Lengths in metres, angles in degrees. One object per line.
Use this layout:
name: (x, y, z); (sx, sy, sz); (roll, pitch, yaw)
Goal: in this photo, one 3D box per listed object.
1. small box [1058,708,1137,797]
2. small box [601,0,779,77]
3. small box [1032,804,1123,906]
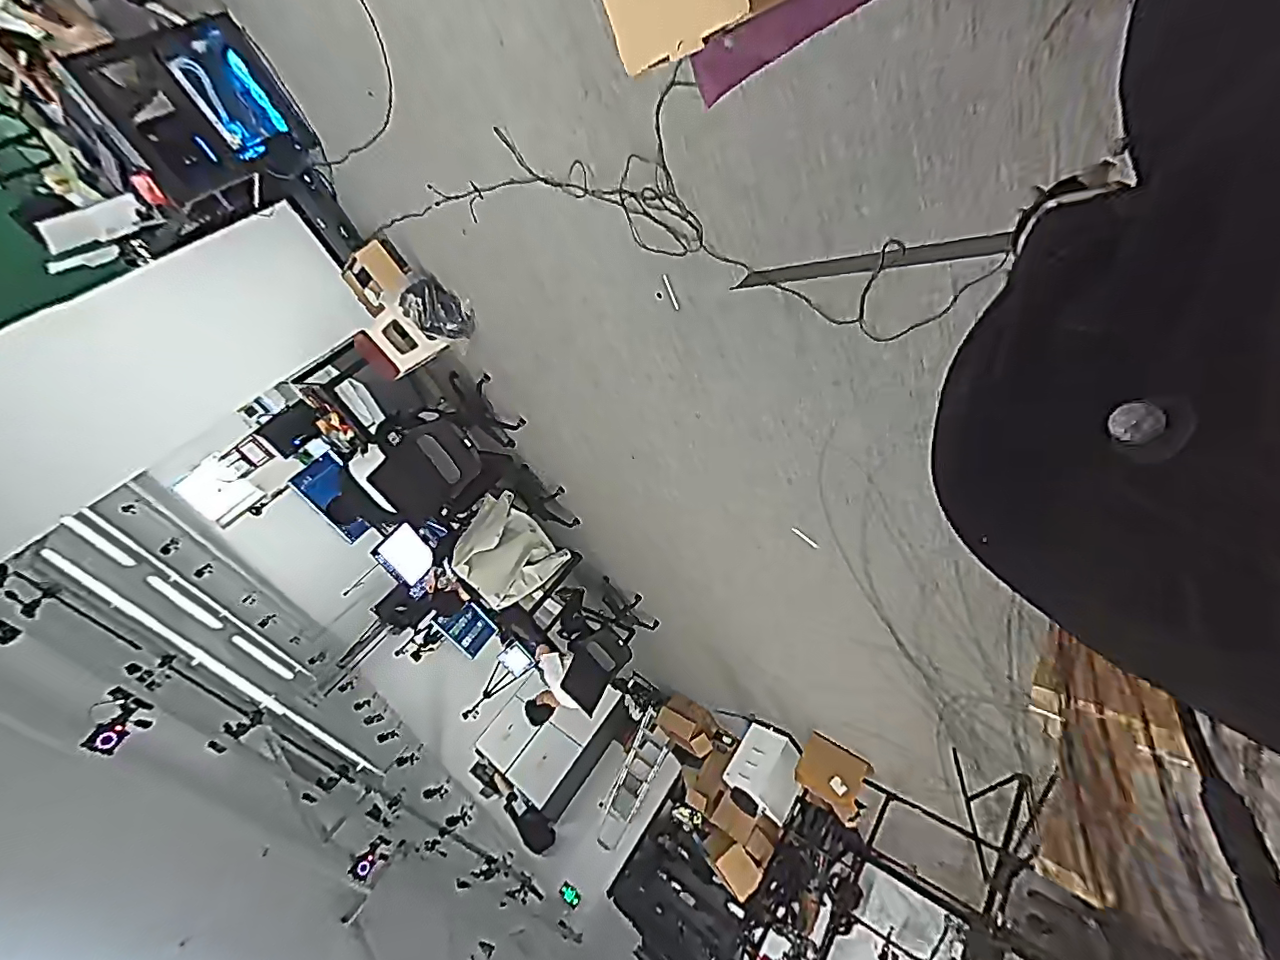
small box: (1.482, 0.874, 1.751); (0.179, 0.176, 0.168); (11, 139, 46)
small box: (0.059, -0.558, 0.543); (0.168, 0.176, 0.179); (11, 140, 43)
small box: (1.291, 1.095, 1.598); (0.179, 0.176, 0.168); (13, 141, 42)
